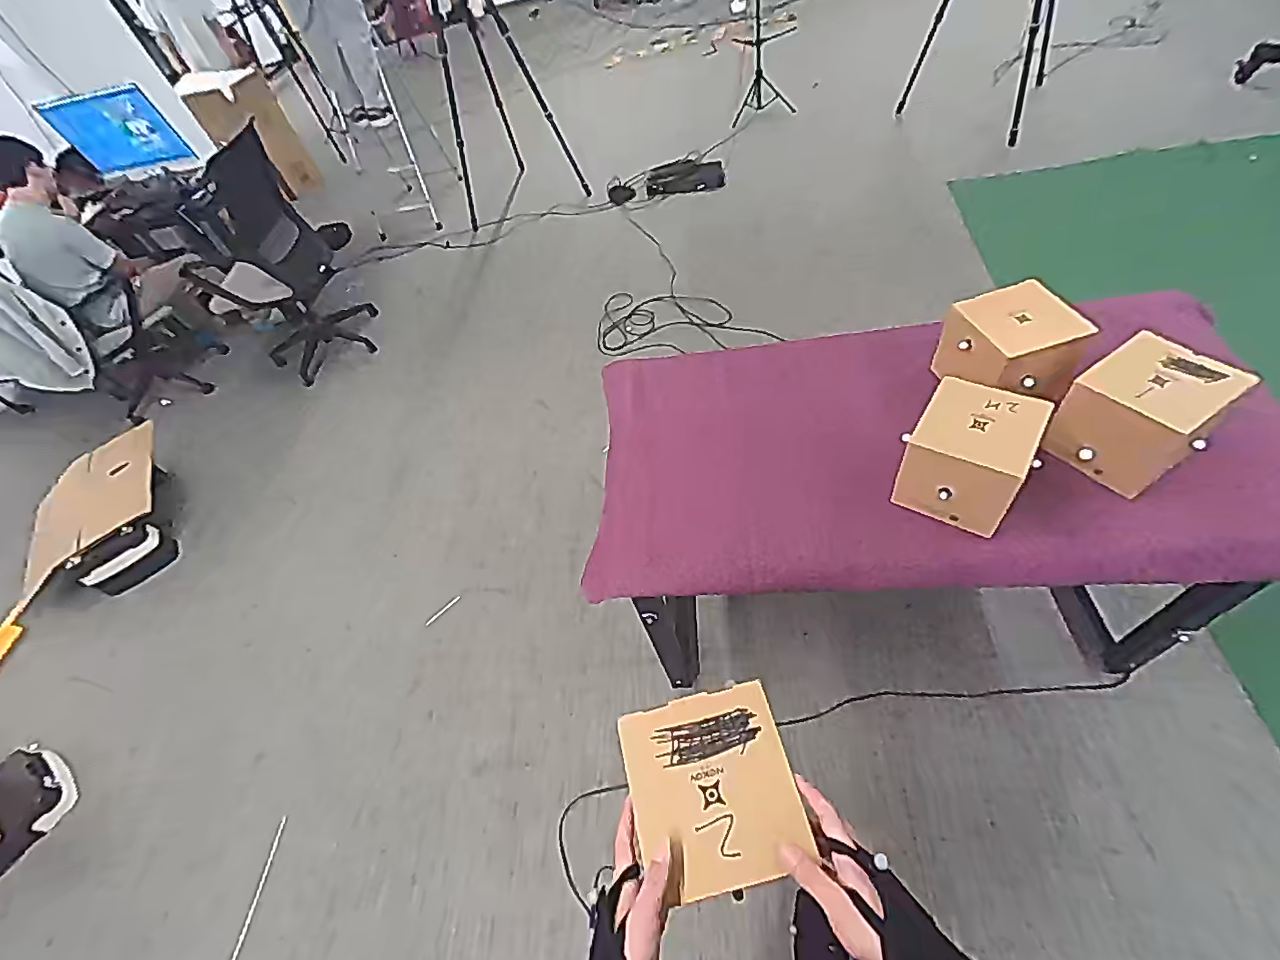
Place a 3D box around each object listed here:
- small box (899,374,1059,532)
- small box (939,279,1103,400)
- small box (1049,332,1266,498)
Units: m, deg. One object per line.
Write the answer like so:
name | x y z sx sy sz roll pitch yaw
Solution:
small box | 0.556 -0.042 0.910 0.168 0.176 0.179 26 63 28
small box | 0.712 -0.247 1.035 0.168 0.176 0.179 -16 52 1
small box | 0.833 -0.105 0.896 0.179 0.176 0.168 -32 52 -10
